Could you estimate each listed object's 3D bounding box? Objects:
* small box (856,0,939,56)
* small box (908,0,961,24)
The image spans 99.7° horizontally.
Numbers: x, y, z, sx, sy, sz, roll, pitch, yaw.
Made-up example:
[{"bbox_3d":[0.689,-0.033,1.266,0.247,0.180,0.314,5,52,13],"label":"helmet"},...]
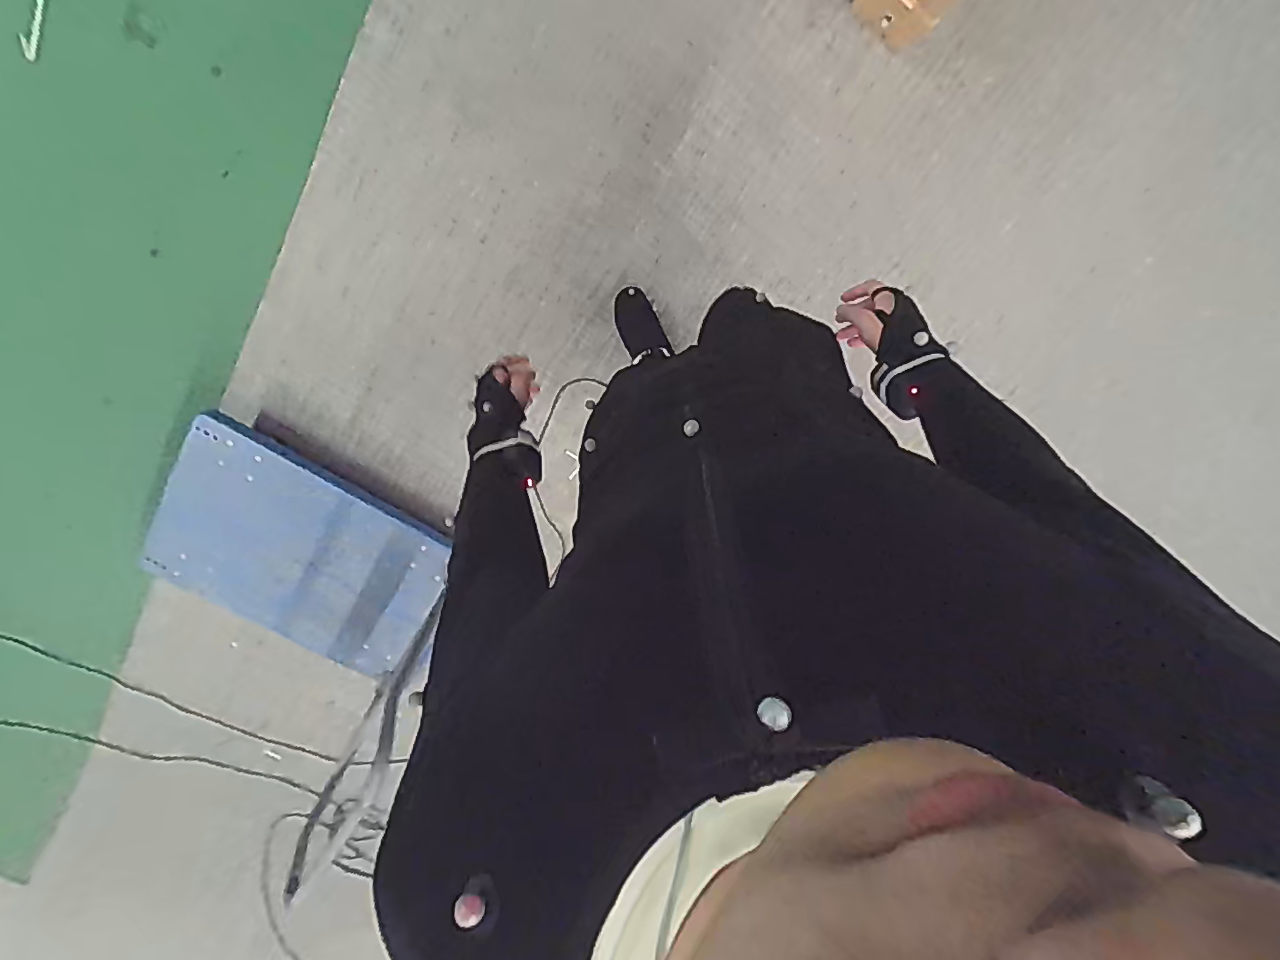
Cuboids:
[{"bbox_3d":[0.602,-1.087,1.181,0.168,0.176,0.179,34,108,-12],"label":"small box"},{"bbox_3d":[0.606,-1.037,1.024,0.168,0.176,0.179,38,106,-12],"label":"small box"}]
